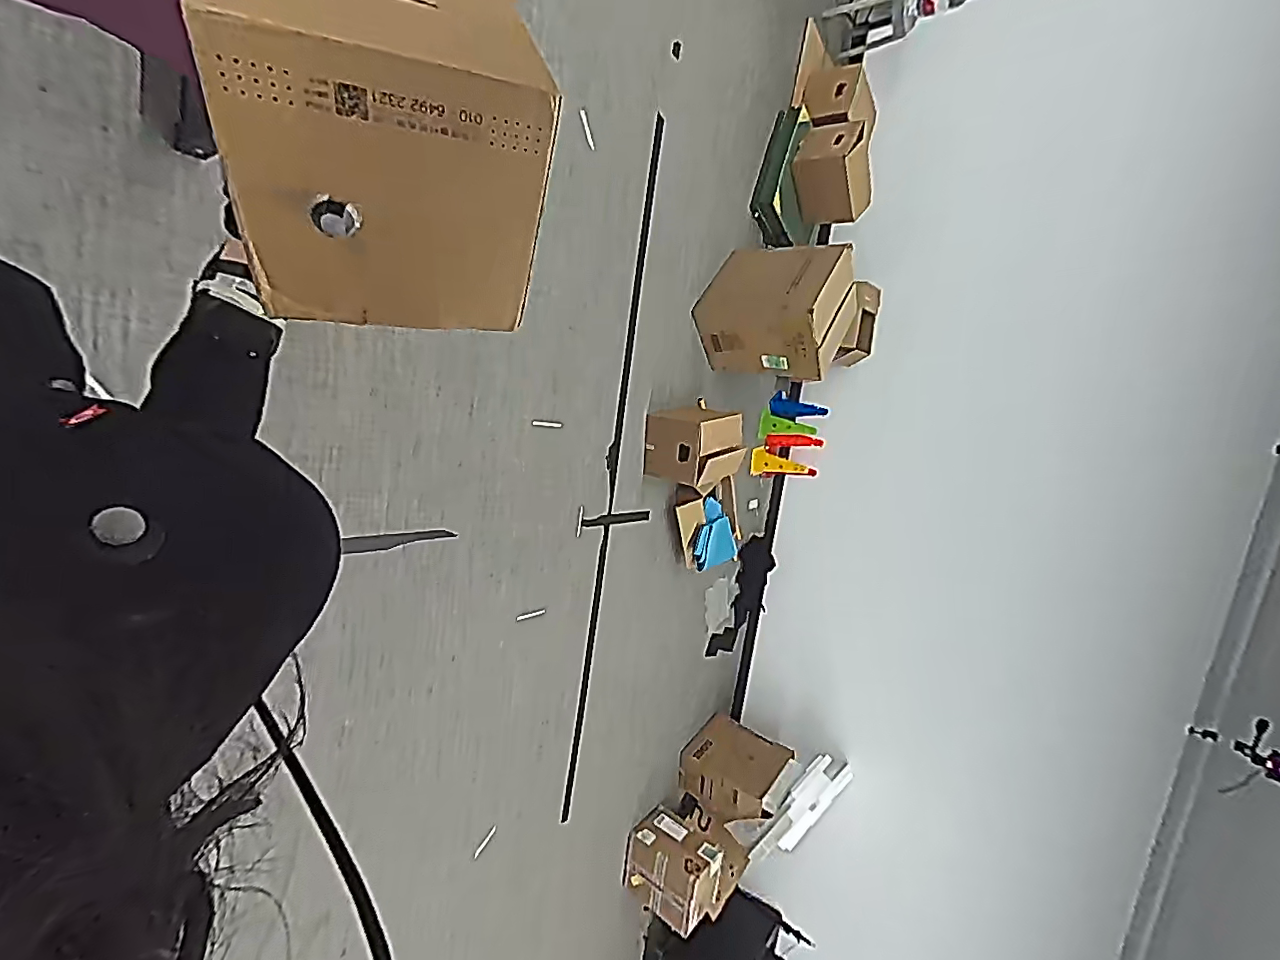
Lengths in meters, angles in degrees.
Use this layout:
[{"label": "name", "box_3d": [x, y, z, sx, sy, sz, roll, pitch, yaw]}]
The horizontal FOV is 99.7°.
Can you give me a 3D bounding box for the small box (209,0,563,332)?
[{"label": "small box", "box_3d": [-0.158, -0.223, 0.357, 0.168, 0.179, 0.176, -3, 146, -26]}]
